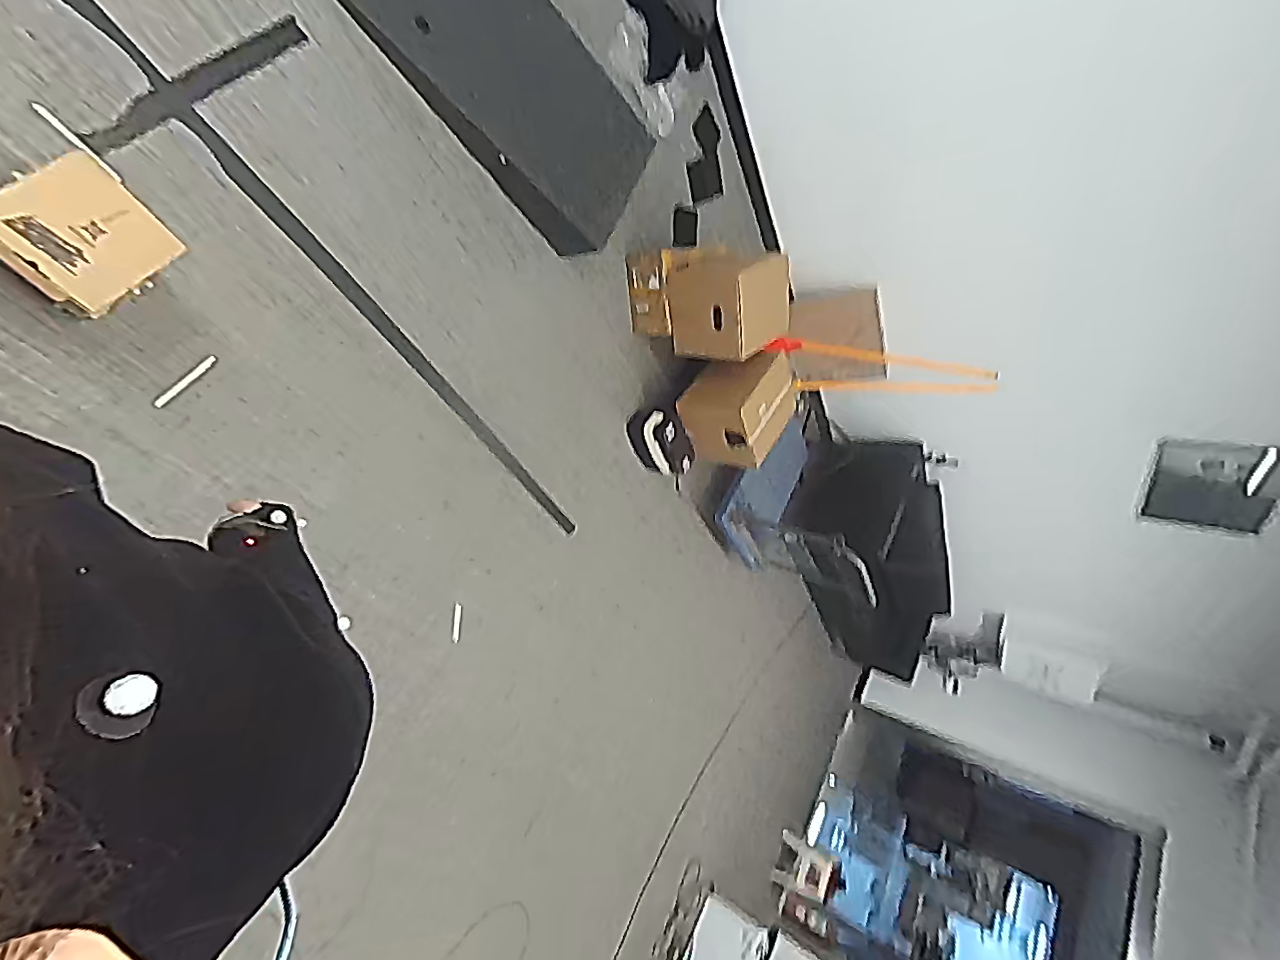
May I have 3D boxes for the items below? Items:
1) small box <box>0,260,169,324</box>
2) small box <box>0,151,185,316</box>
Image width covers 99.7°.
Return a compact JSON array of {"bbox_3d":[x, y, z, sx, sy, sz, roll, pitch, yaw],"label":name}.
[{"bbox_3d":[-1.001,-0.398,0.955,0.168,0.176,0.179,-58,137,-23],"label":"small box"},{"bbox_3d":[-0.880,-0.373,0.846,0.179,0.176,0.168,-57,138,-26],"label":"small box"}]
